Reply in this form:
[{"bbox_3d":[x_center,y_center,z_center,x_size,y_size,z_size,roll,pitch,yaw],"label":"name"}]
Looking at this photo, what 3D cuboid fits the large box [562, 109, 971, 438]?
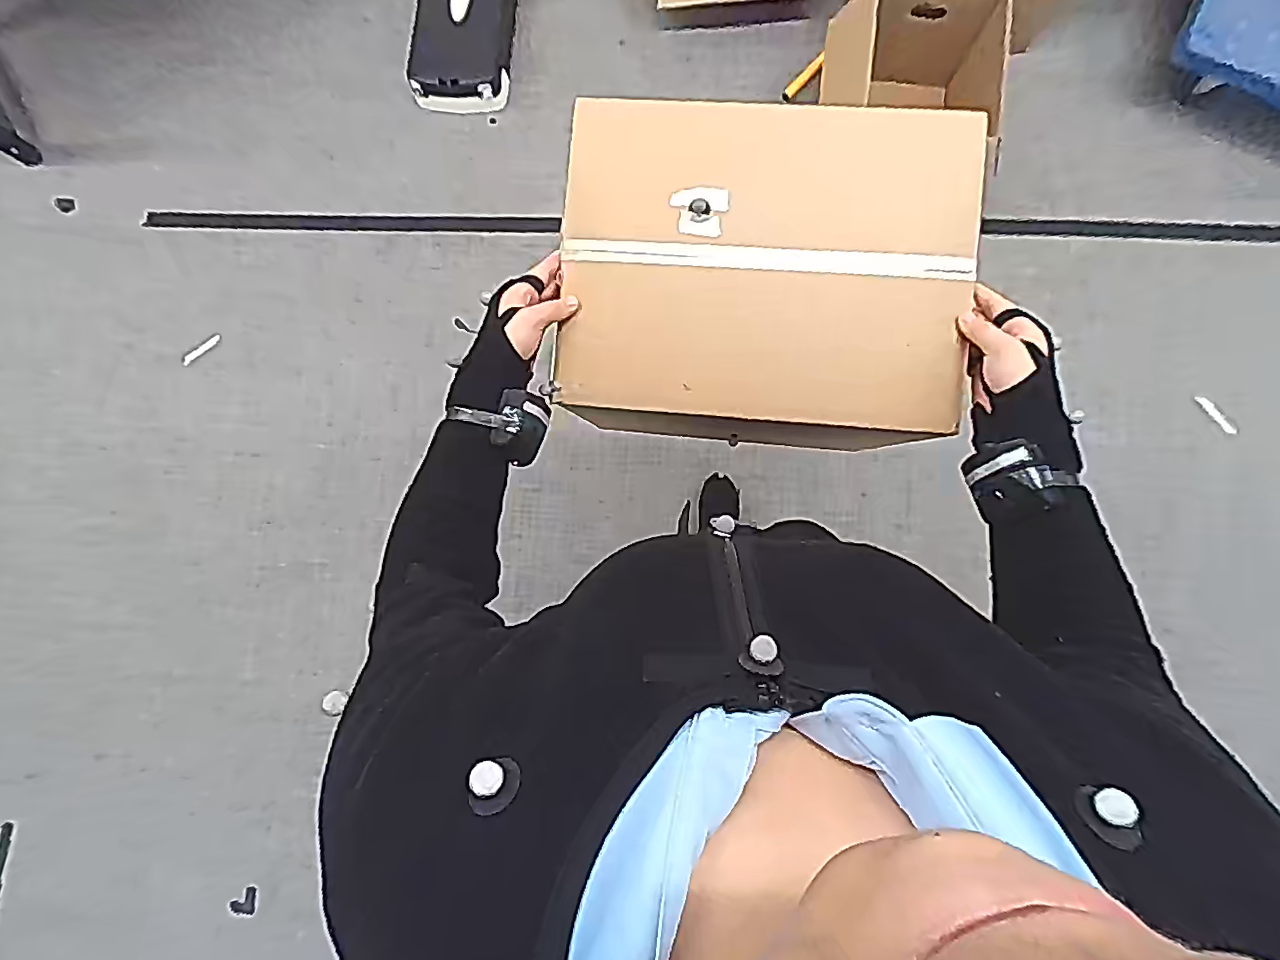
[{"bbox_3d":[0.138,-0.224,0.699,0.408,0.320,0.320,4,89,5],"label":"large box"}]
